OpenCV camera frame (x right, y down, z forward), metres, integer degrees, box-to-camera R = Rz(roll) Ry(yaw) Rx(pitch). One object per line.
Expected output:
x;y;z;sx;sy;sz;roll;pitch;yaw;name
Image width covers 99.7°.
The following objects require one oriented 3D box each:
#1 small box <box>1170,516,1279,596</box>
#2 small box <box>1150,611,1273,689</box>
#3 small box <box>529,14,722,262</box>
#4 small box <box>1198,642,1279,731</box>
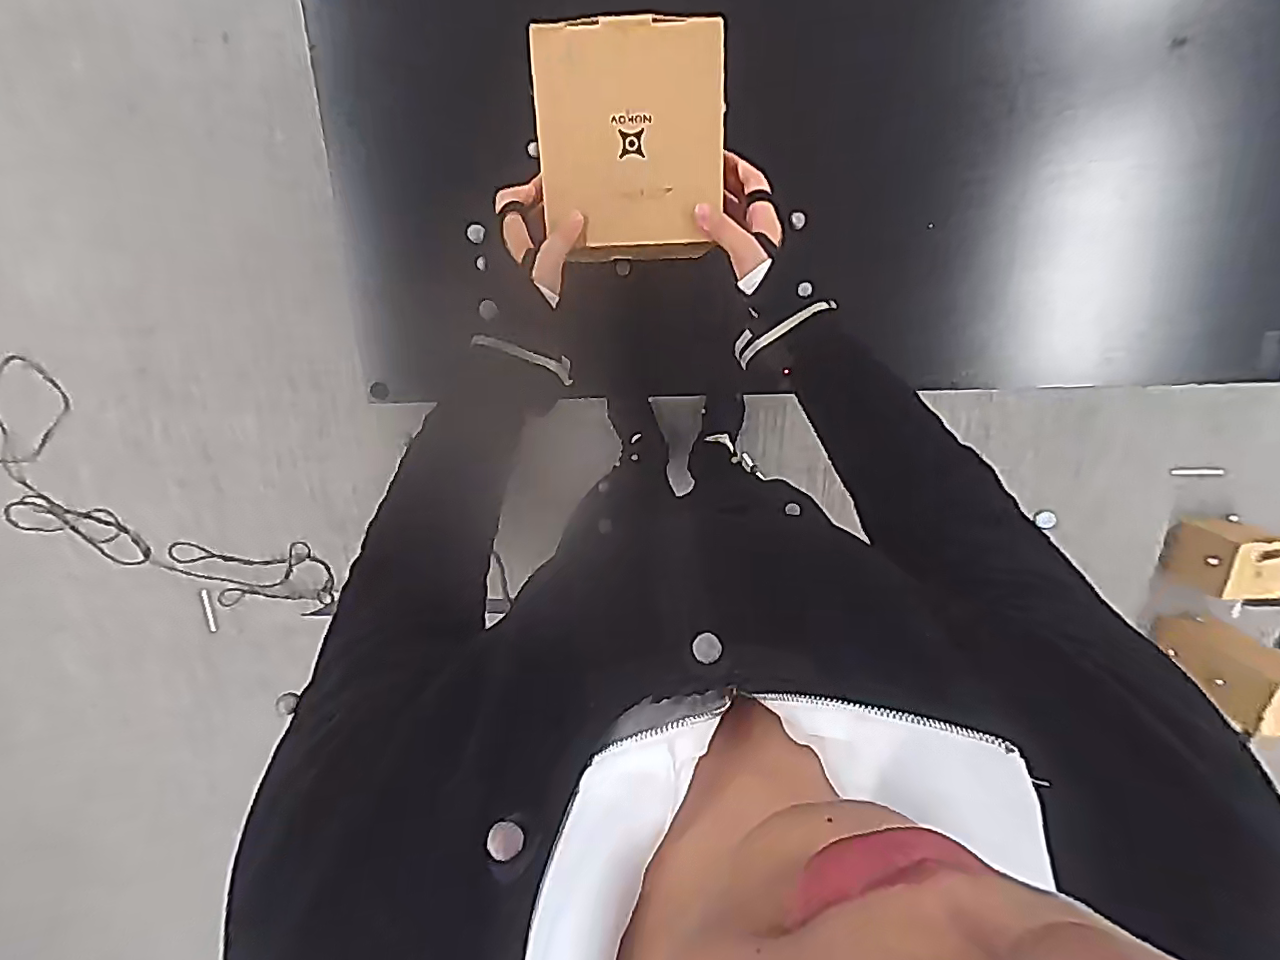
1.671;0.208;1.533;0.168;0.176;0.179;-3;108;-1;small box
1.711;0.510;1.633;0.179;0.176;0.168;-1;107;-1;small box
-0.011;-0.328;0.553;0.168;0.176;0.179;-4;108;0;small box
1.709;0.558;1.473;0.179;0.176;0.168;0;107;-1;small box
